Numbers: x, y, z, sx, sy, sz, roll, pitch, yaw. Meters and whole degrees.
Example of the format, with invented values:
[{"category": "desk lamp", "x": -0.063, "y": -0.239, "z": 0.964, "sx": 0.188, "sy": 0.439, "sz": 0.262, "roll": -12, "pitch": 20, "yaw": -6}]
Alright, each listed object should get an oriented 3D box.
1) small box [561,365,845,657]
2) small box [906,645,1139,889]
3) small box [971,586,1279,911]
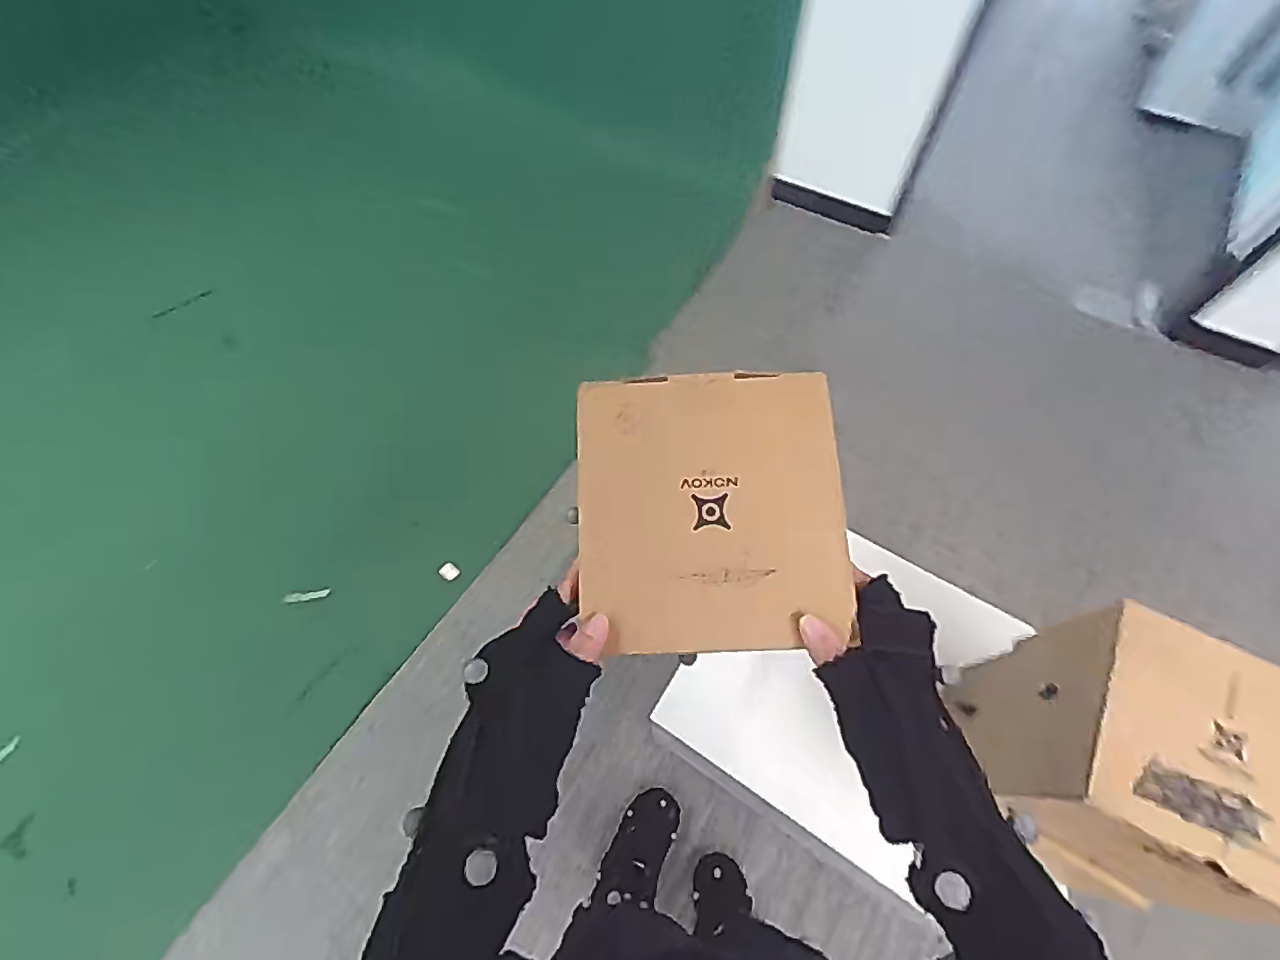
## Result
[{"category": "small box", "x": 0.036, "y": 0.031, "z": 0.412, "sx": 0.168, "sy": 0.176, "sz": 0.179, "roll": -5, "pitch": 79, "yaw": 1}, {"category": "small box", "x": 0.438, "y": 0.311, "z": 0.621, "sx": 0.168, "sy": 0.176, "sz": 0.179, "roll": 30, "pitch": 68, "yaw": 17}, {"category": "small box", "x": 0.431, "y": 0.229, "z": 0.479, "sx": 0.168, "sy": 0.176, "sz": 0.179, "roll": 28, "pitch": 67, "yaw": 15}]
